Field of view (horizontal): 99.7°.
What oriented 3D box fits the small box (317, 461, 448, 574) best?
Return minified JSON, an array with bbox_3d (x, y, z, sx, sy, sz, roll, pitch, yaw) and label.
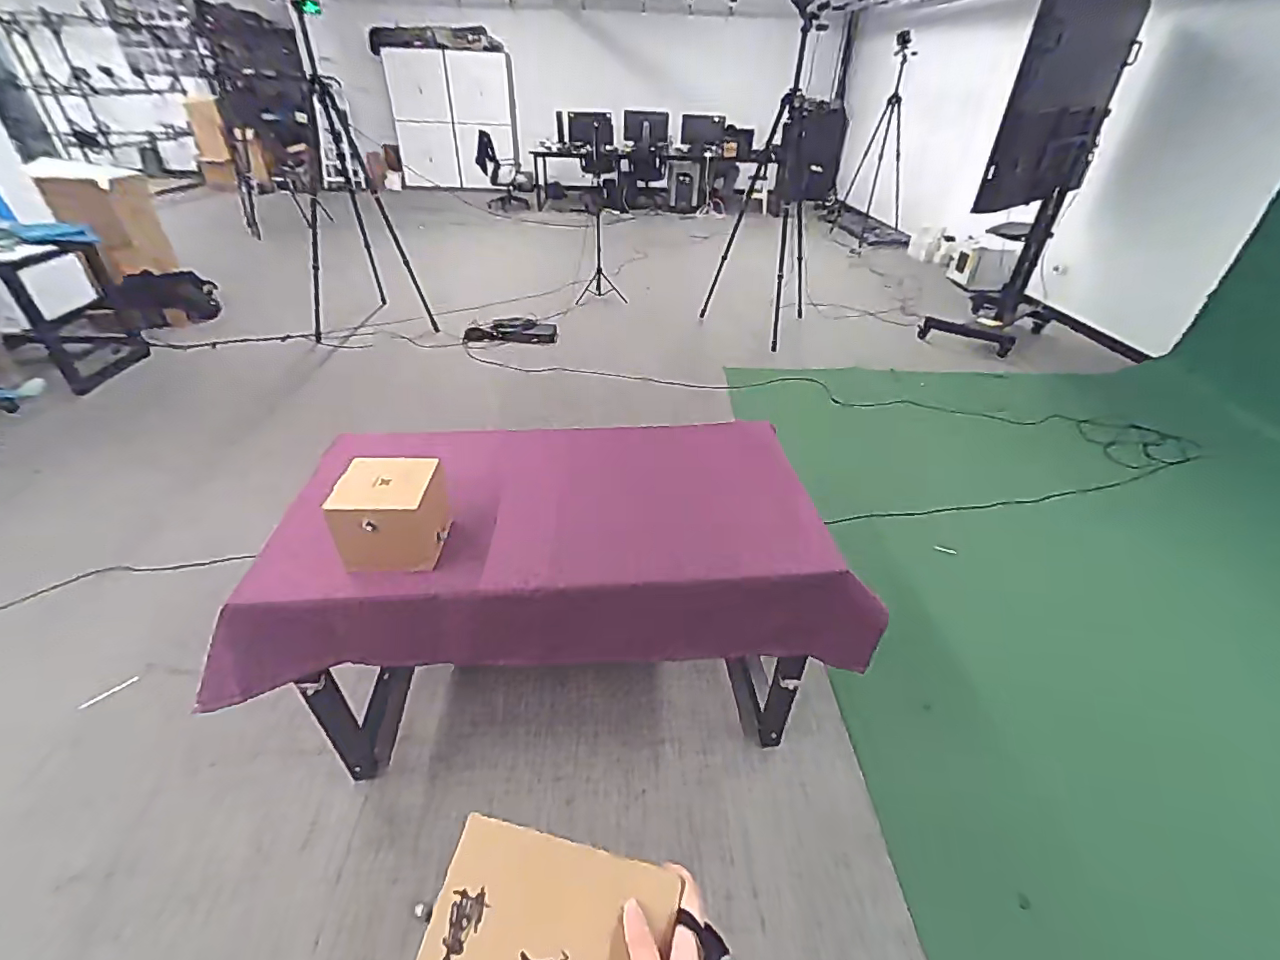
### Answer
[{"bbox_3d":[-0.507,0.076,1.094,0.179,0.176,0.168,1,37,-3],"label":"small box"}]
